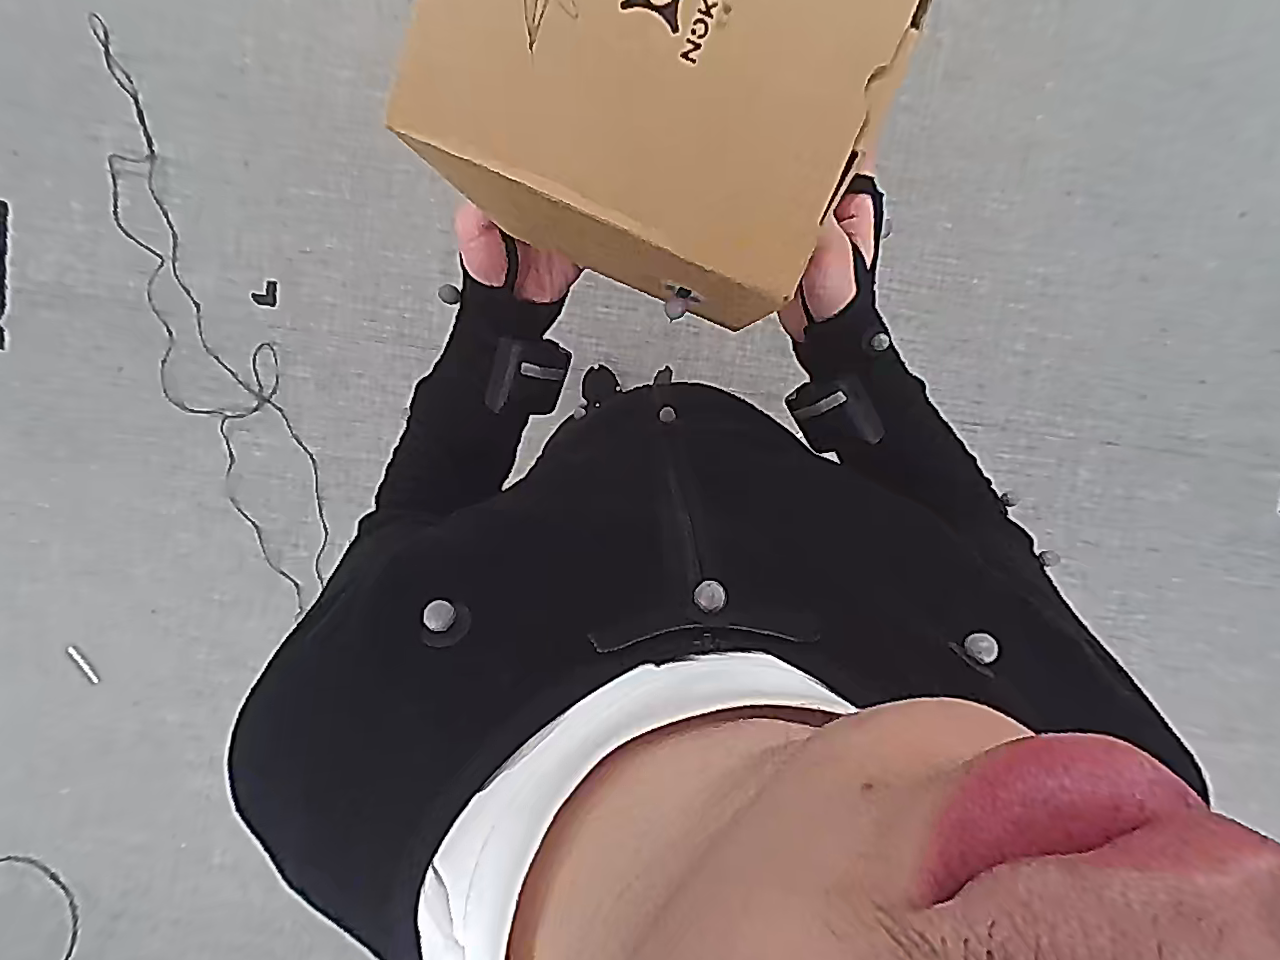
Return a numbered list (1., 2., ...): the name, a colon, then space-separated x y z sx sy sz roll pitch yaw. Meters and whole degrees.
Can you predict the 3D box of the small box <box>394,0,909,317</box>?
1. small box: 0.012 -0.197 0.287 0.179 0.176 0.168 22 100 -1
